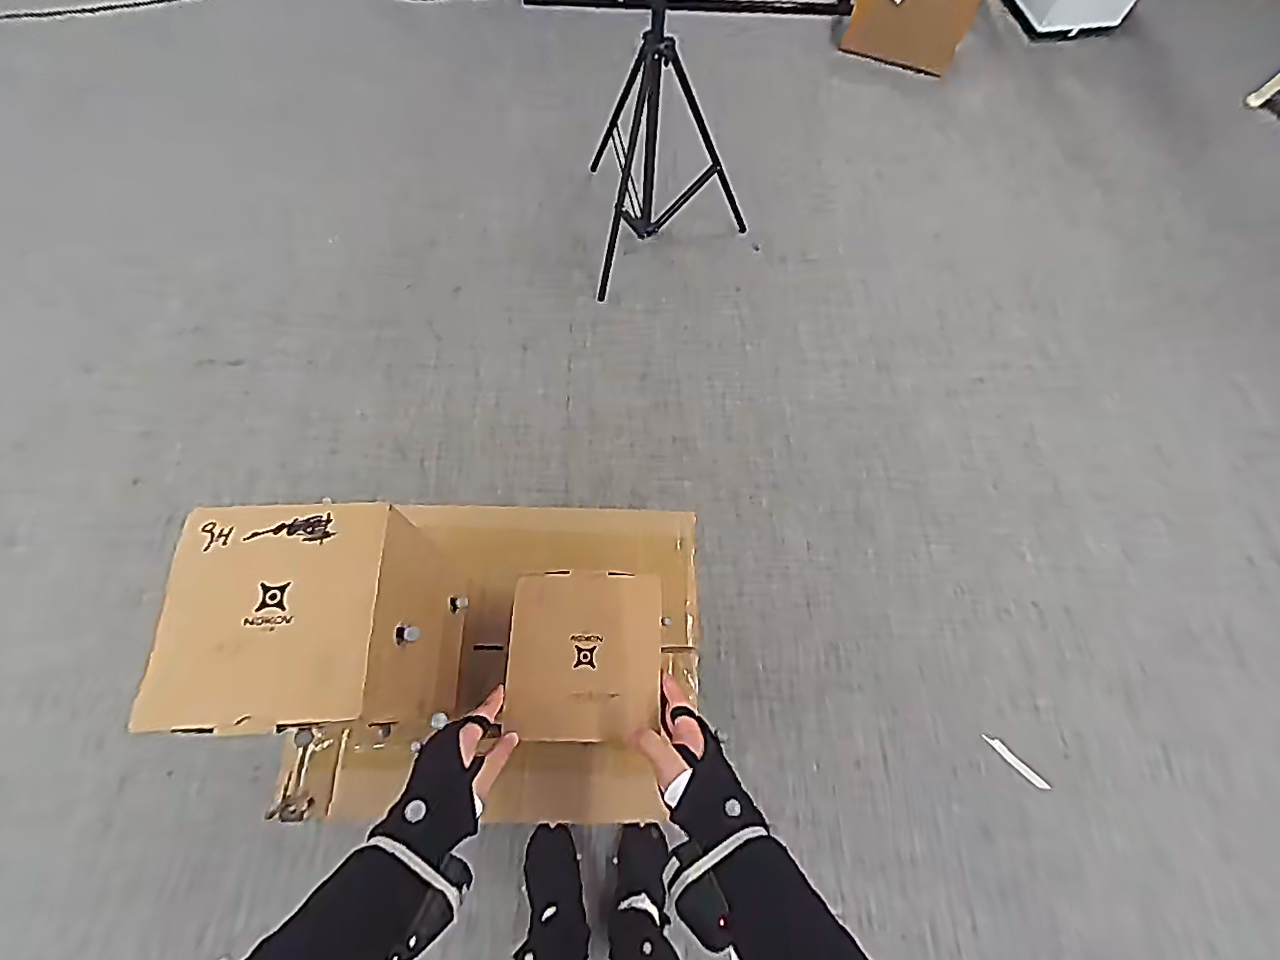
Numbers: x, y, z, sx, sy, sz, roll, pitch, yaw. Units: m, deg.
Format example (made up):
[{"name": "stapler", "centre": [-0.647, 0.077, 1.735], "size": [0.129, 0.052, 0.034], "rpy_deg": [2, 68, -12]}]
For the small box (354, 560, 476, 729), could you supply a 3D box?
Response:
[{"name": "small box", "centre": [-0.302, 0.202, 0.653], "size": [0.168, 0.176, 0.179], "rpy_deg": [0, 67, -4]}]

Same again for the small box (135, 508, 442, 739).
[{"name": "small box", "centre": [-0.295, 0.136, 0.503], "size": [0.168, 0.176, 0.179], "rpy_deg": [-2, 67, -4]}]

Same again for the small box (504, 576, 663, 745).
[{"name": "small box", "centre": [-0.059, 0.220, 0.658], "size": [0.168, 0.176, 0.179], "rpy_deg": [0, 69, 0]}]
